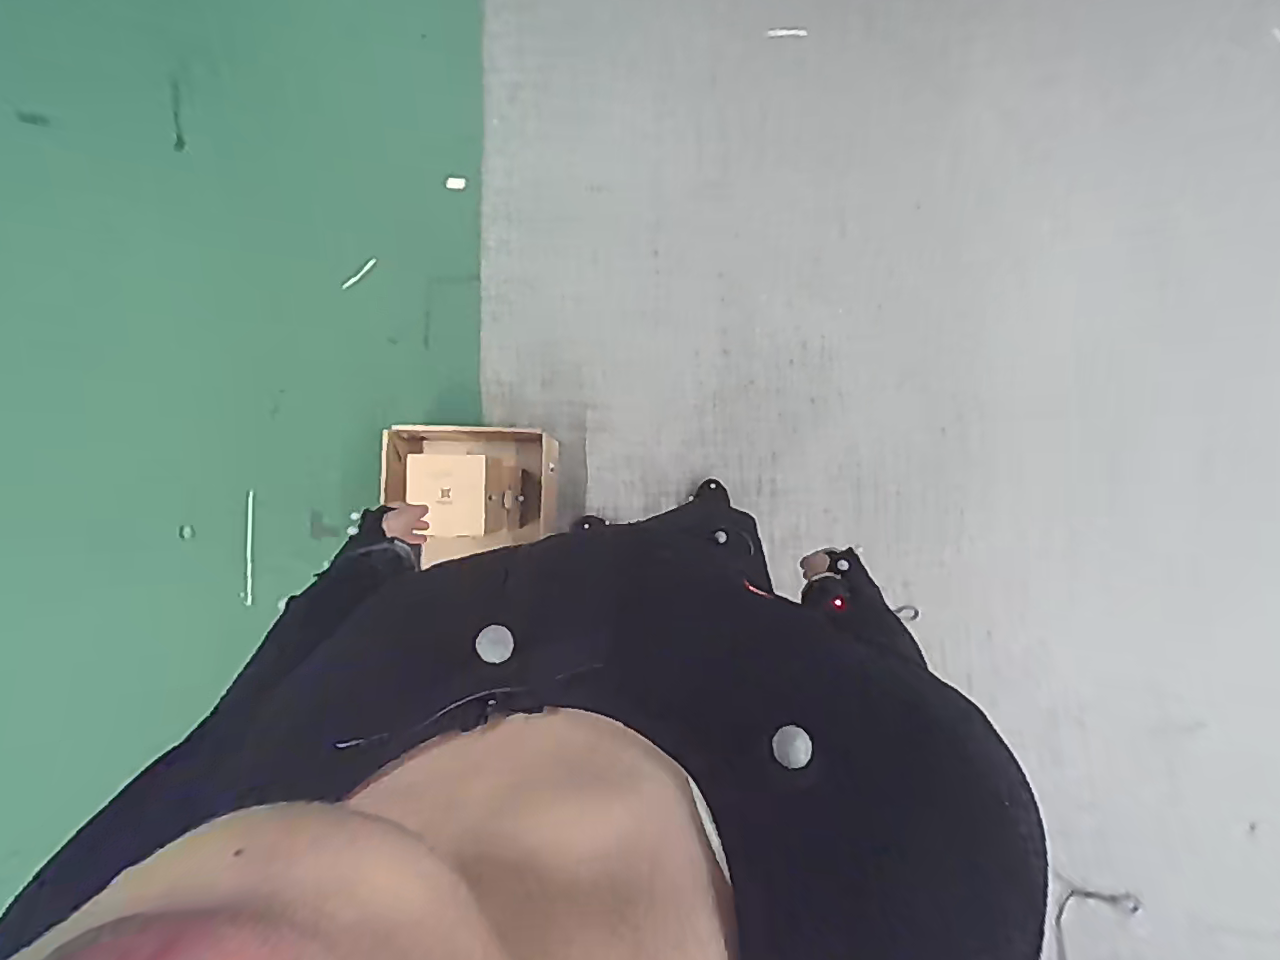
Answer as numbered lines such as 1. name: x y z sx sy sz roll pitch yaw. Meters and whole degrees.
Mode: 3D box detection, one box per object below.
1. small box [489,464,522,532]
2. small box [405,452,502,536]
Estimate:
1. small box: -0.399 0.039 1.360 0.179 0.176 0.168 3 89 -1
2. small box: -0.405 0.029 1.196 0.168 0.176 0.179 0 88 -2
